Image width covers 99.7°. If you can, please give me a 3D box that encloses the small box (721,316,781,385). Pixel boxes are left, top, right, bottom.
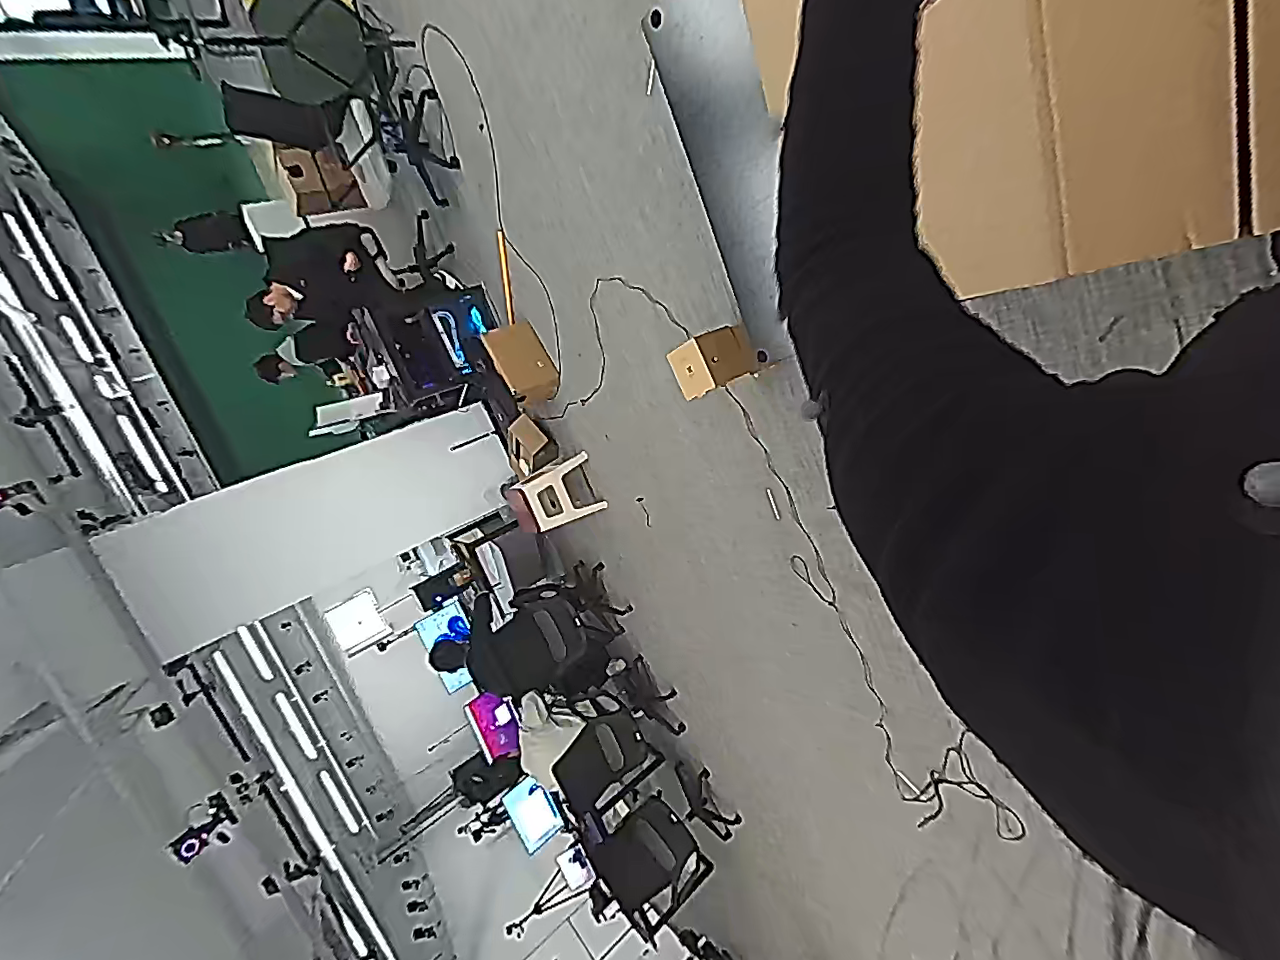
[{"bbox_3d":[0.360,-0.457,1.892,0.168,0.176,0.179,-13,103,59],"label":"small box"}]

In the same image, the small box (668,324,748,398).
[{"bbox_3d":[0.232,-0.398,1.810,0.168,0.176,0.179,-18,97,59],"label":"small box"}]
